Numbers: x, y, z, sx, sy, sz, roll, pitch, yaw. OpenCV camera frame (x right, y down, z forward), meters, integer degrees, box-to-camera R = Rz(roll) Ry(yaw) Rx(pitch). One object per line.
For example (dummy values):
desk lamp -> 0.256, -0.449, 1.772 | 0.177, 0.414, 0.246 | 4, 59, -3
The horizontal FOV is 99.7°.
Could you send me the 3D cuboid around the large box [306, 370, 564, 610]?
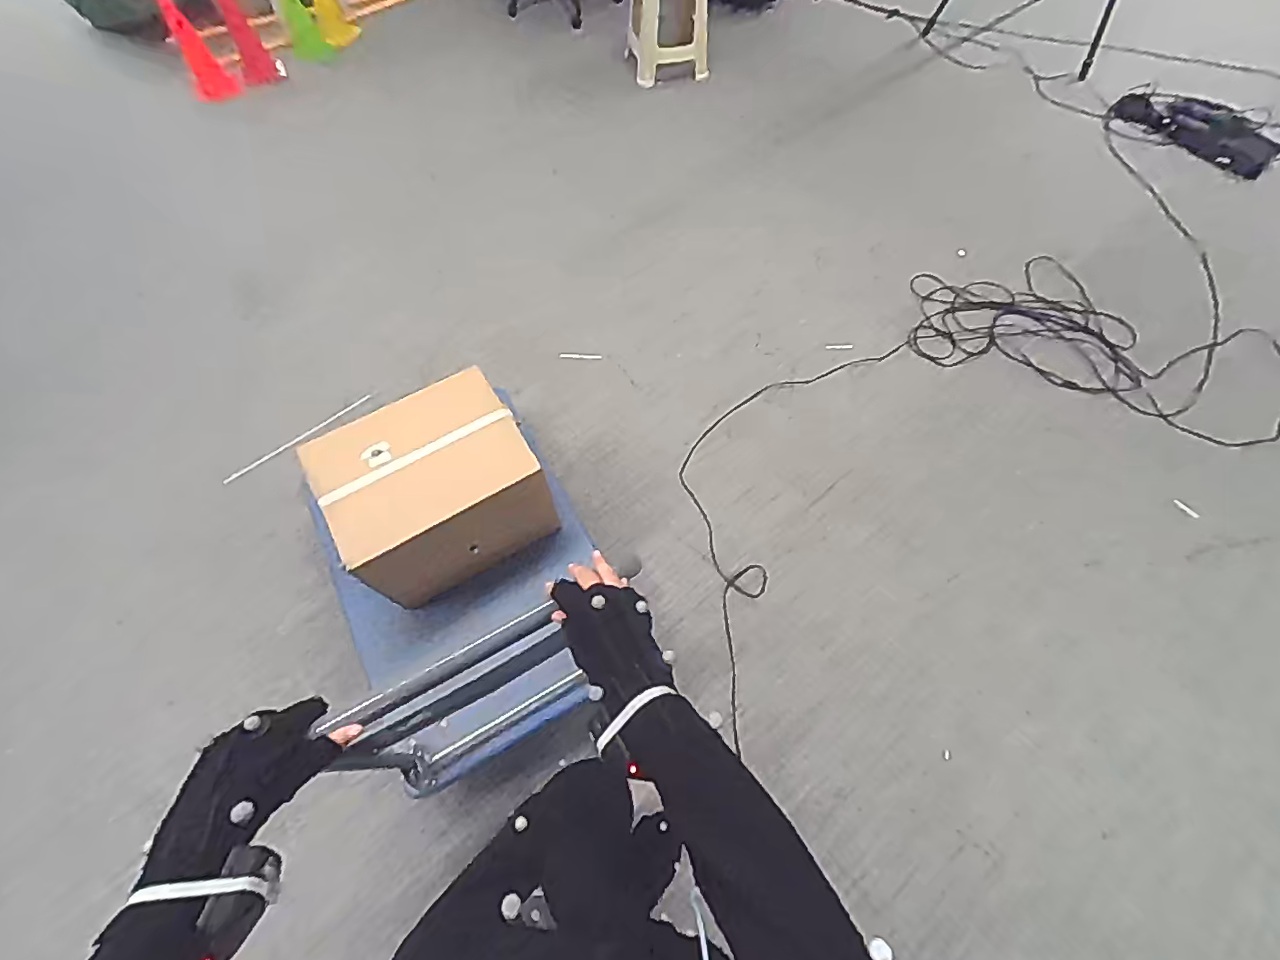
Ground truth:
large box -> -0.434, 0.031, 1.229 | 0.408, 0.320, 0.320 | -31, 67, -14
